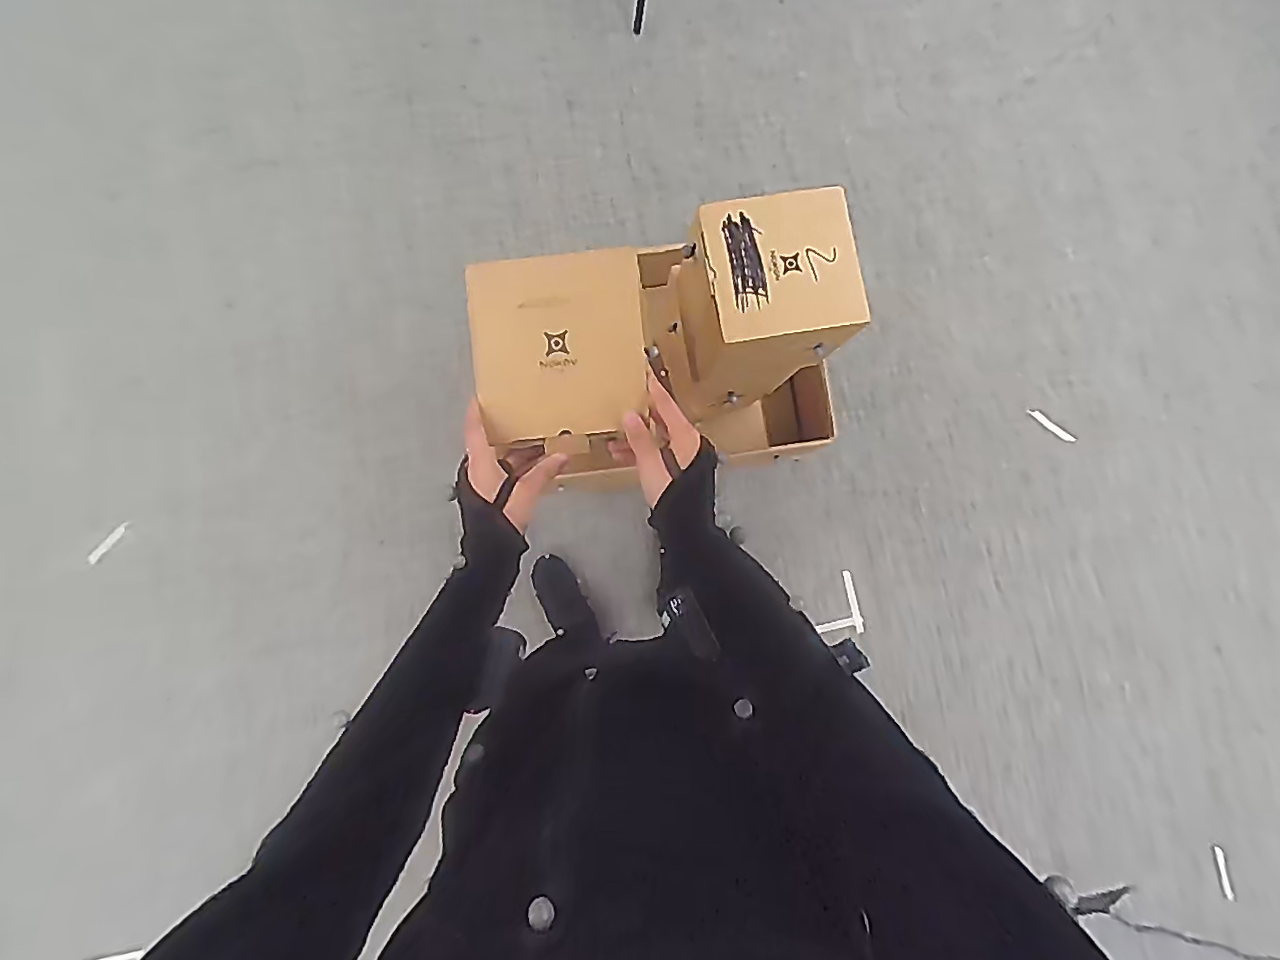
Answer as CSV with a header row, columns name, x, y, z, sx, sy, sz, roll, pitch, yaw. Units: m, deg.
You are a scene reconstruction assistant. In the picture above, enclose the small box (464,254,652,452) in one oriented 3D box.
name,x,y,z,sx,sy,sz,roll,pitch,yaw
small box,-0.076,-0.126,0.593,0.168,0.176,0.179,-5,93,3
